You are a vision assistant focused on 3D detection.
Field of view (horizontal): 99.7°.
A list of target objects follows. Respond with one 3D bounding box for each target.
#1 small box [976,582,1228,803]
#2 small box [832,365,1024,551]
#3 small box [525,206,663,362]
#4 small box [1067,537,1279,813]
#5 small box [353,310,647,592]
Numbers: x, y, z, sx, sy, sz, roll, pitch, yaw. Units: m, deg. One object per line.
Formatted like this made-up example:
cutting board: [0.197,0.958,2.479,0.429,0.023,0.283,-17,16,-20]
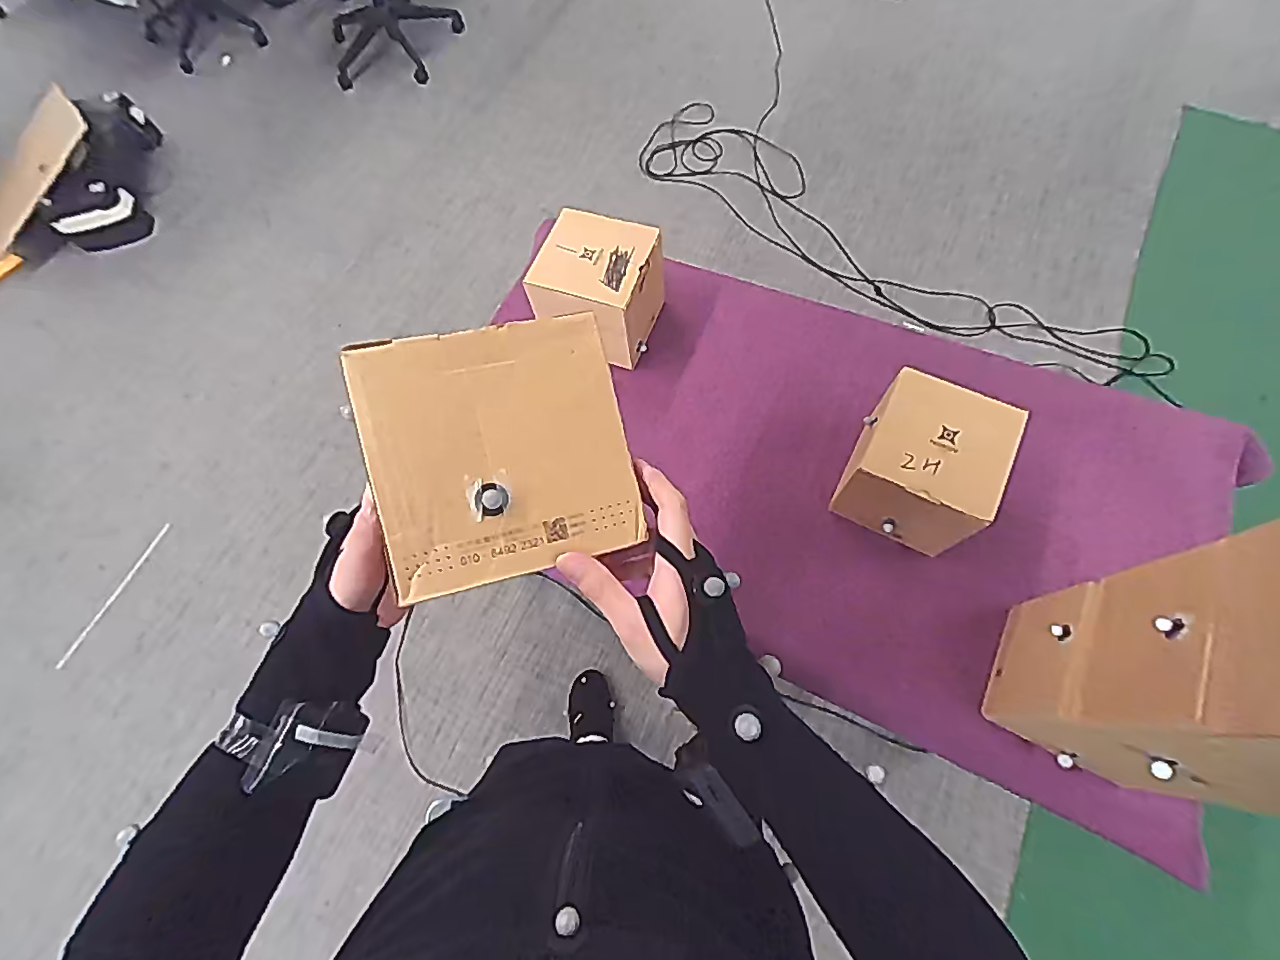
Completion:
small box: [0.555,0.248,0.653,0.179,0.176,0.168,26,71,14]
small box: [0.397,-0.024,0.774,0.168,0.176,0.179,26,73,14]
small box: [-0.066,-0.327,0.928,0.179,0.176,0.168,19,71,12]
small box: [0.547,0.184,0.503,0.168,0.176,0.179,25,72,15]
small box: [-0.105,-0.017,0.437,0.168,0.179,0.176,-13,91,-14]
